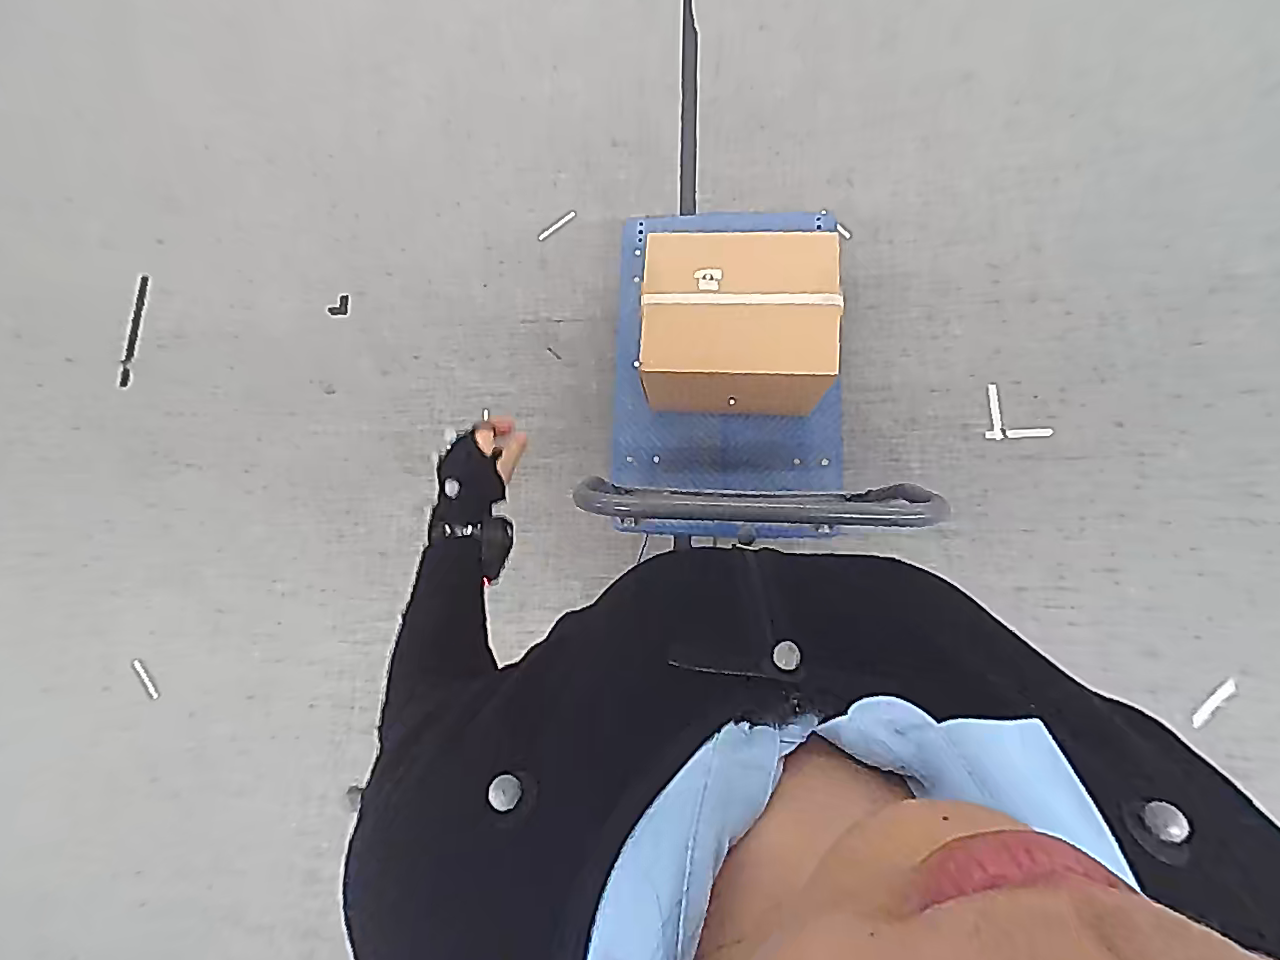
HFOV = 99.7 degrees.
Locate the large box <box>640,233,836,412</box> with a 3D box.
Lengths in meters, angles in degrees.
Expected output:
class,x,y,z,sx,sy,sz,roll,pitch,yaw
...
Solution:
class,x,y,z,sx,sy,sz,roll,pitch,yaw
large box,0.224,-0.347,1.278,0.408,0.320,0.320,2,80,8
